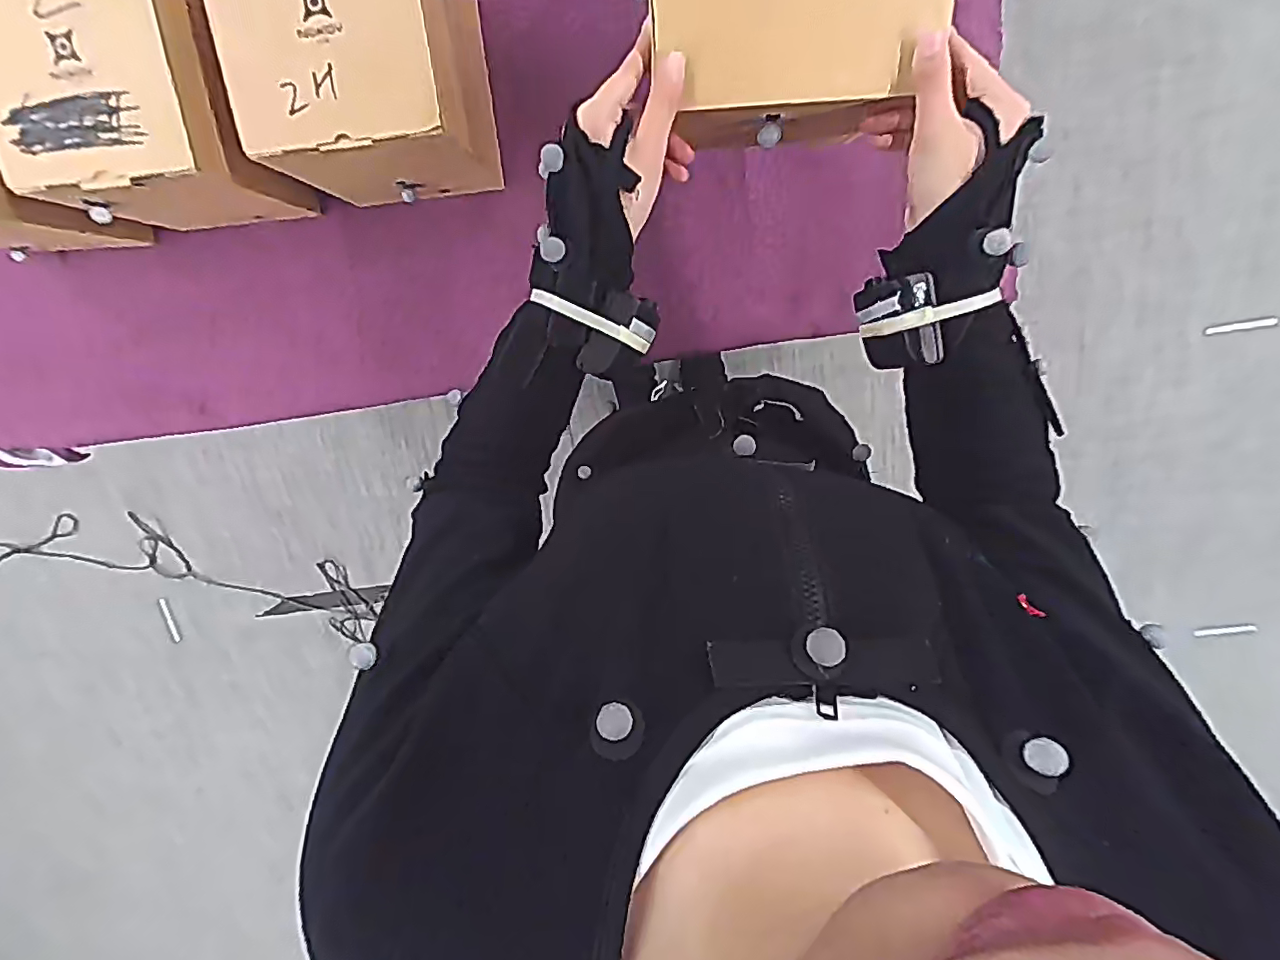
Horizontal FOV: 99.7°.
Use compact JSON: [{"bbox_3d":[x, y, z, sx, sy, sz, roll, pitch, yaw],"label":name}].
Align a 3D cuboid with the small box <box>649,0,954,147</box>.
[{"bbox_3d":[0.094,-0.338,0.371,0.179,0.176,0.168,-1,114,4],"label":"small box"}]
